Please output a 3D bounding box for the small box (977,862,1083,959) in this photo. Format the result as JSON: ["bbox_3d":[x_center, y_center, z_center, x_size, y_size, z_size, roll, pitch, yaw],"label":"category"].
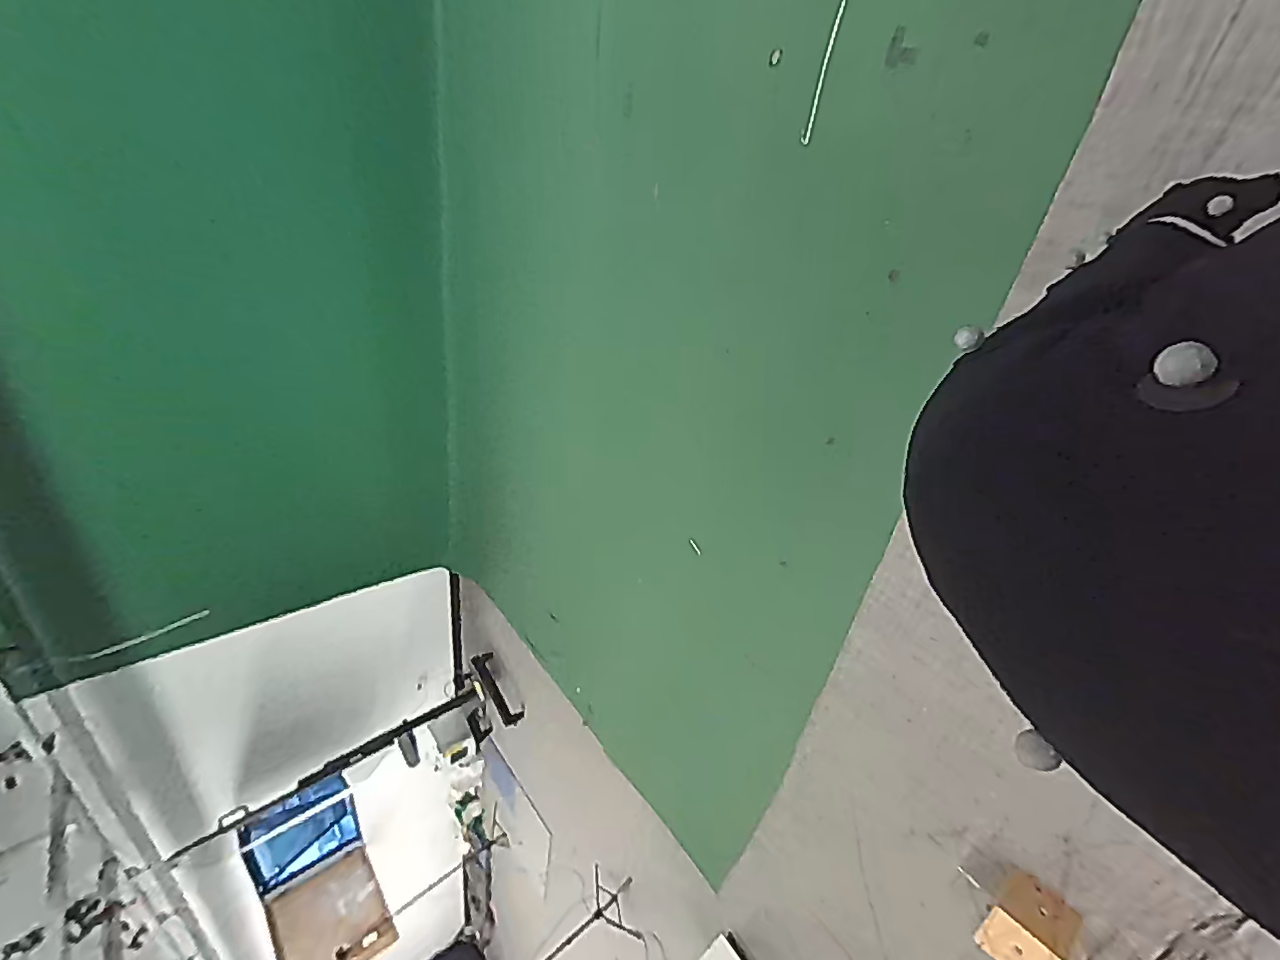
[{"bbox_3d":[1.064,1.200,1.471,0.168,0.176,0.179,32,126,41],"label":"small box"}]
